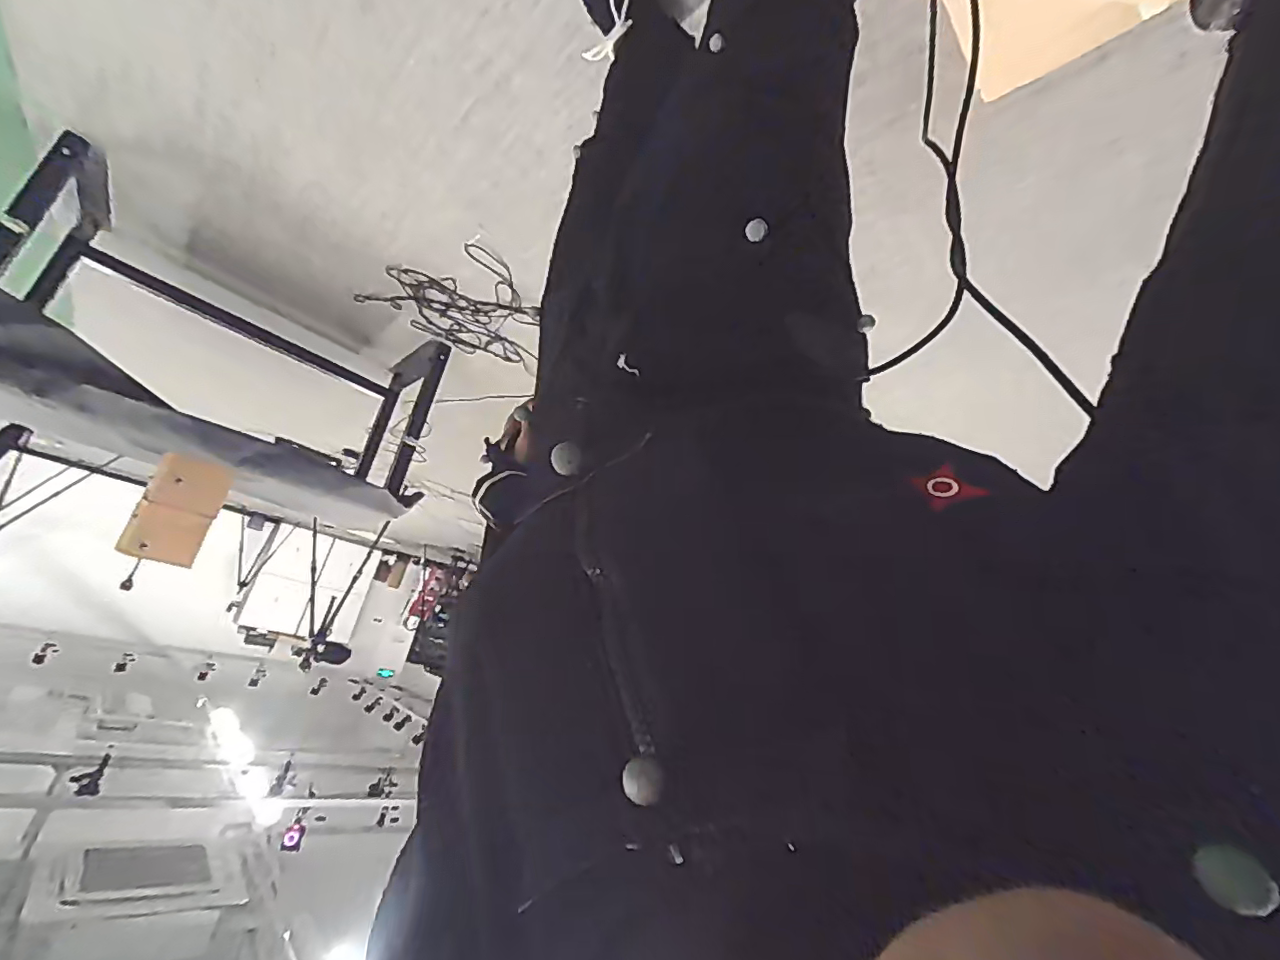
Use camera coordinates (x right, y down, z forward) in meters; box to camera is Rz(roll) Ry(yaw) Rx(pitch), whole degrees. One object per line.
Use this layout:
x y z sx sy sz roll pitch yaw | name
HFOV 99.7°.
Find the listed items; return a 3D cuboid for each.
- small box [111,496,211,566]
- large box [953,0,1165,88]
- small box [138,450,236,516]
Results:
-1.490 0.159 1.689 0.168 0.176 0.179 -1 157 39 | small box
0.424 -0.701 0.480 0.408 0.320 0.320 26 159 -38 | large box
-1.452 0.008 1.735 0.168 0.176 0.179 -1 159 39 | small box
